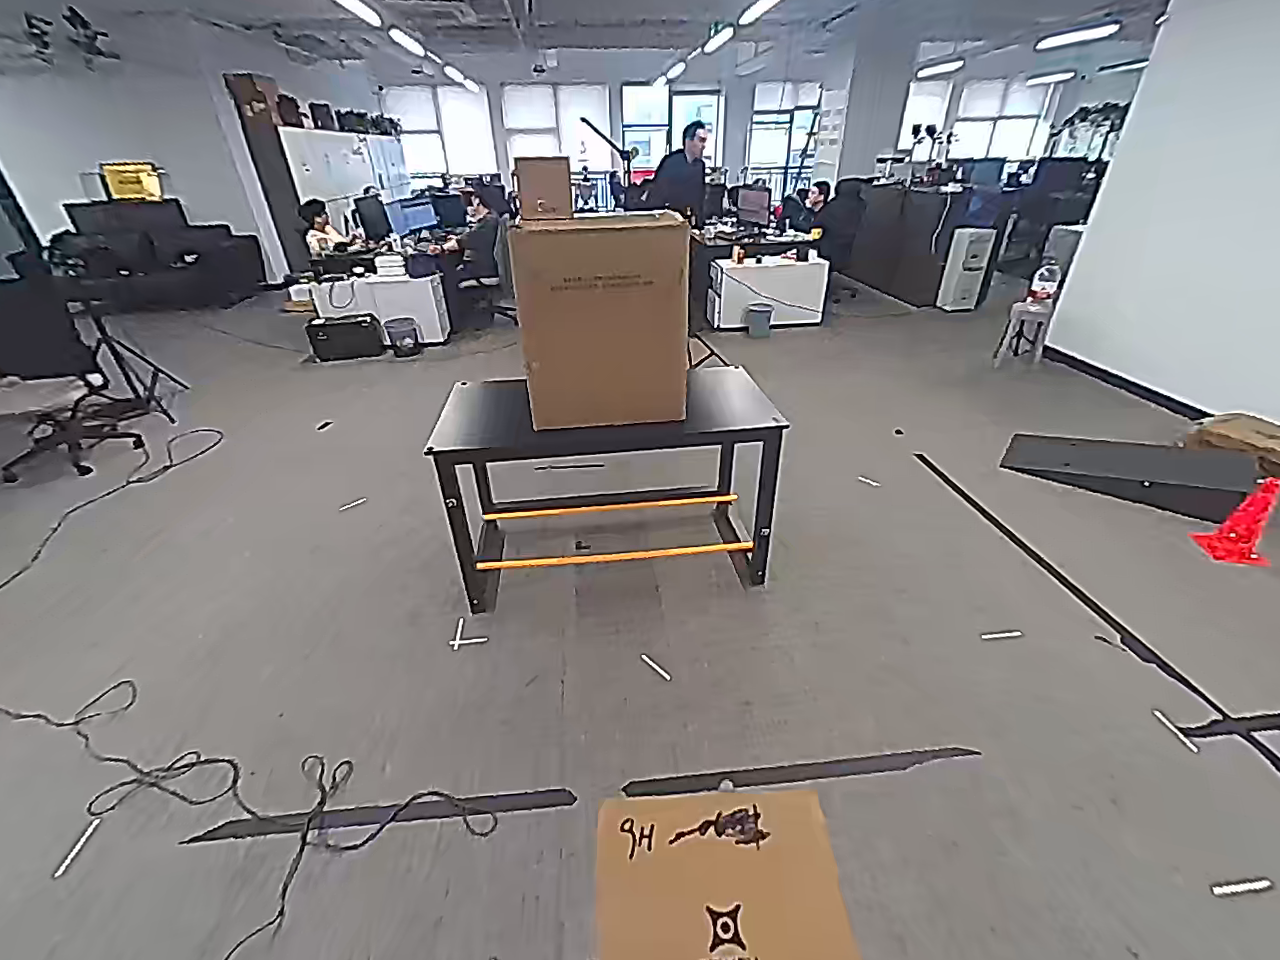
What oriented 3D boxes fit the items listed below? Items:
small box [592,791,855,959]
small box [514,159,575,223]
[{"bbox_3d":[0.053,0.351,0.396,0.168,0.176,0.179,-2,44,-1],"label":"small box"},{"bbox_3d":[-0.295,-0.898,1.681,0.168,0.176,0.179,-7,31,-7],"label":"small box"}]
